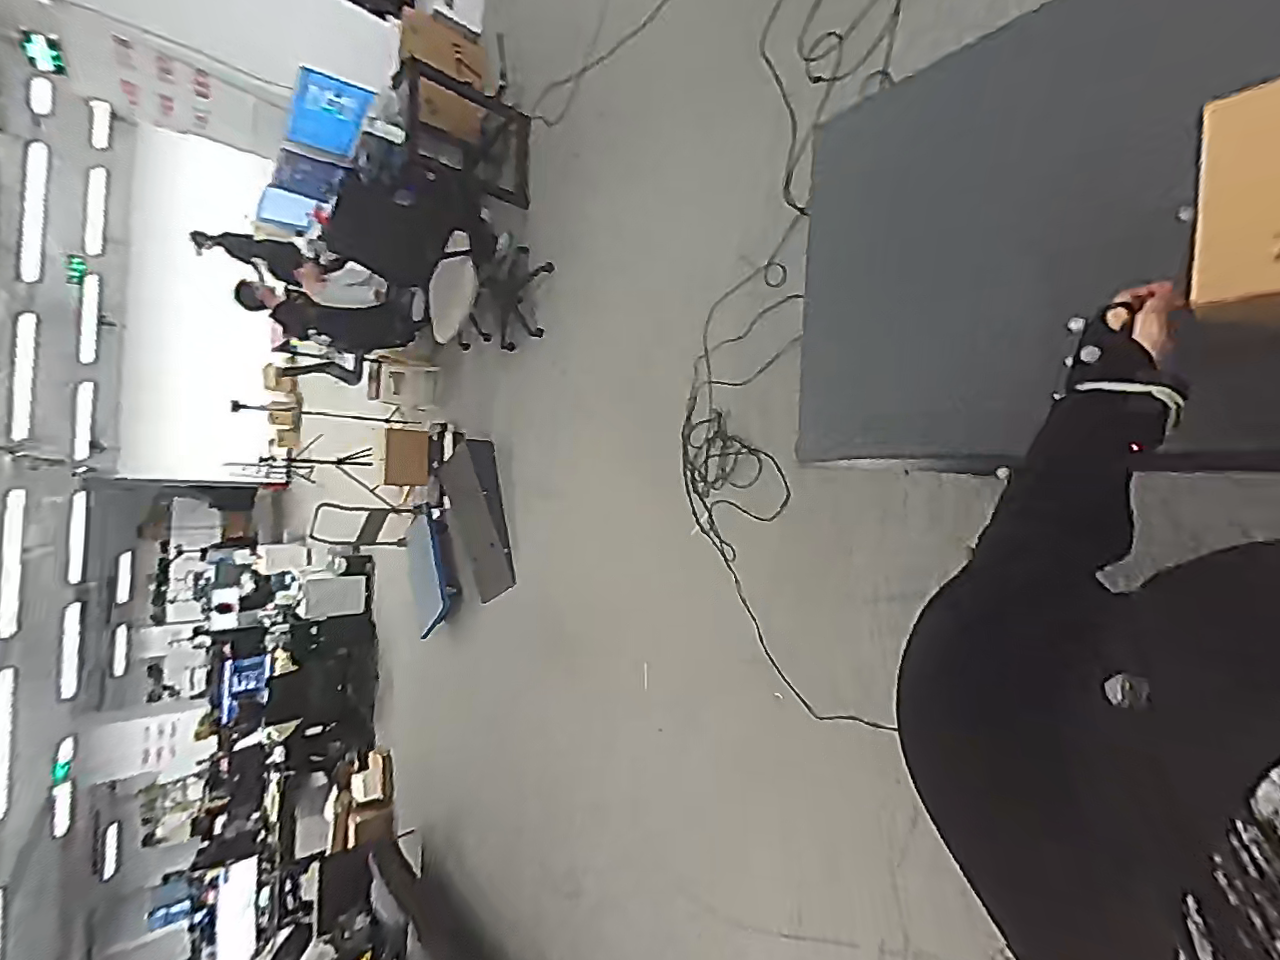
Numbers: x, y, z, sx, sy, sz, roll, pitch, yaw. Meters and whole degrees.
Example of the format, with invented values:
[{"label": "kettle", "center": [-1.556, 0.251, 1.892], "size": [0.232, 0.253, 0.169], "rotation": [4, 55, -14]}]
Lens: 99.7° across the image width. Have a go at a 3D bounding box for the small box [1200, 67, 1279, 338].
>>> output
[{"label": "small box", "center": [0.588, -0.232, 0.441], "size": [0.168, 0.176, 0.179], "rotation": [4, 89, 51]}]
